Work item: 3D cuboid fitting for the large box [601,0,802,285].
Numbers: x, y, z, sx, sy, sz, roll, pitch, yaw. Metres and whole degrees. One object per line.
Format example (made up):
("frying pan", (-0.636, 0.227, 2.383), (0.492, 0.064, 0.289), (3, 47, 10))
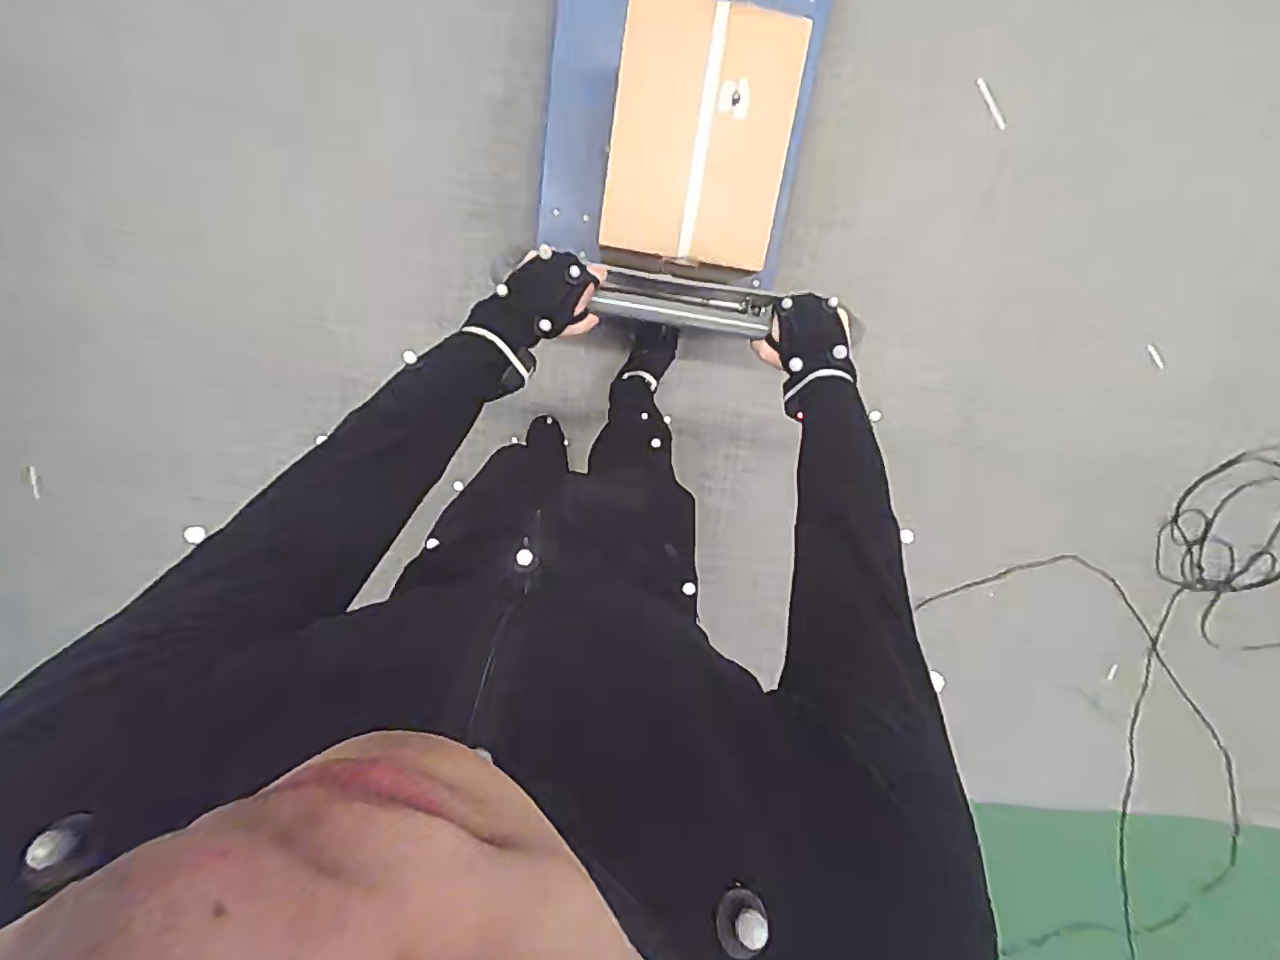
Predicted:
("large box", (0.098, -0.638, 1.101), (0.320, 0.320, 0.408), (7, 104, -5))
